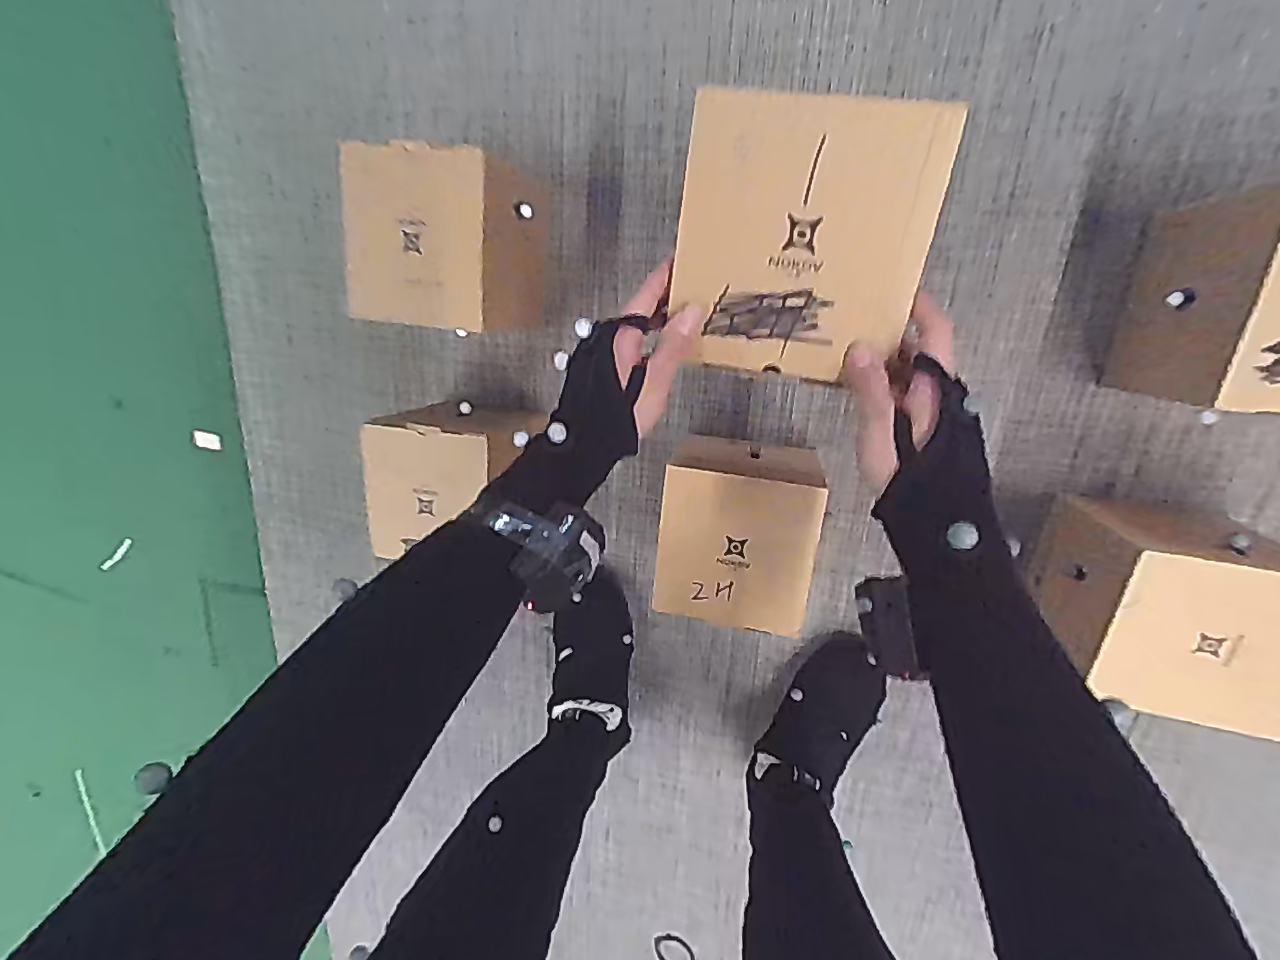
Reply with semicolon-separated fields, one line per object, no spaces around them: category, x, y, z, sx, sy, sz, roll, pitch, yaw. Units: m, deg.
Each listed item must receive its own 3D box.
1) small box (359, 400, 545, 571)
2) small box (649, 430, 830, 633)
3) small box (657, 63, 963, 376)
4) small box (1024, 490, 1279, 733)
small box;-0.232;-0.006;0.704;0.168;0.176;0.179;8;107;13
small box;0.115;0.045;0.632;0.168;0.176;0.179;9;108;12
small box;0.118;-0.194;0.430;0.168;0.176;0.179;10;112;8
small box;0.536;0.117;0.550;0.179;0.176;0.168;9;108;11
